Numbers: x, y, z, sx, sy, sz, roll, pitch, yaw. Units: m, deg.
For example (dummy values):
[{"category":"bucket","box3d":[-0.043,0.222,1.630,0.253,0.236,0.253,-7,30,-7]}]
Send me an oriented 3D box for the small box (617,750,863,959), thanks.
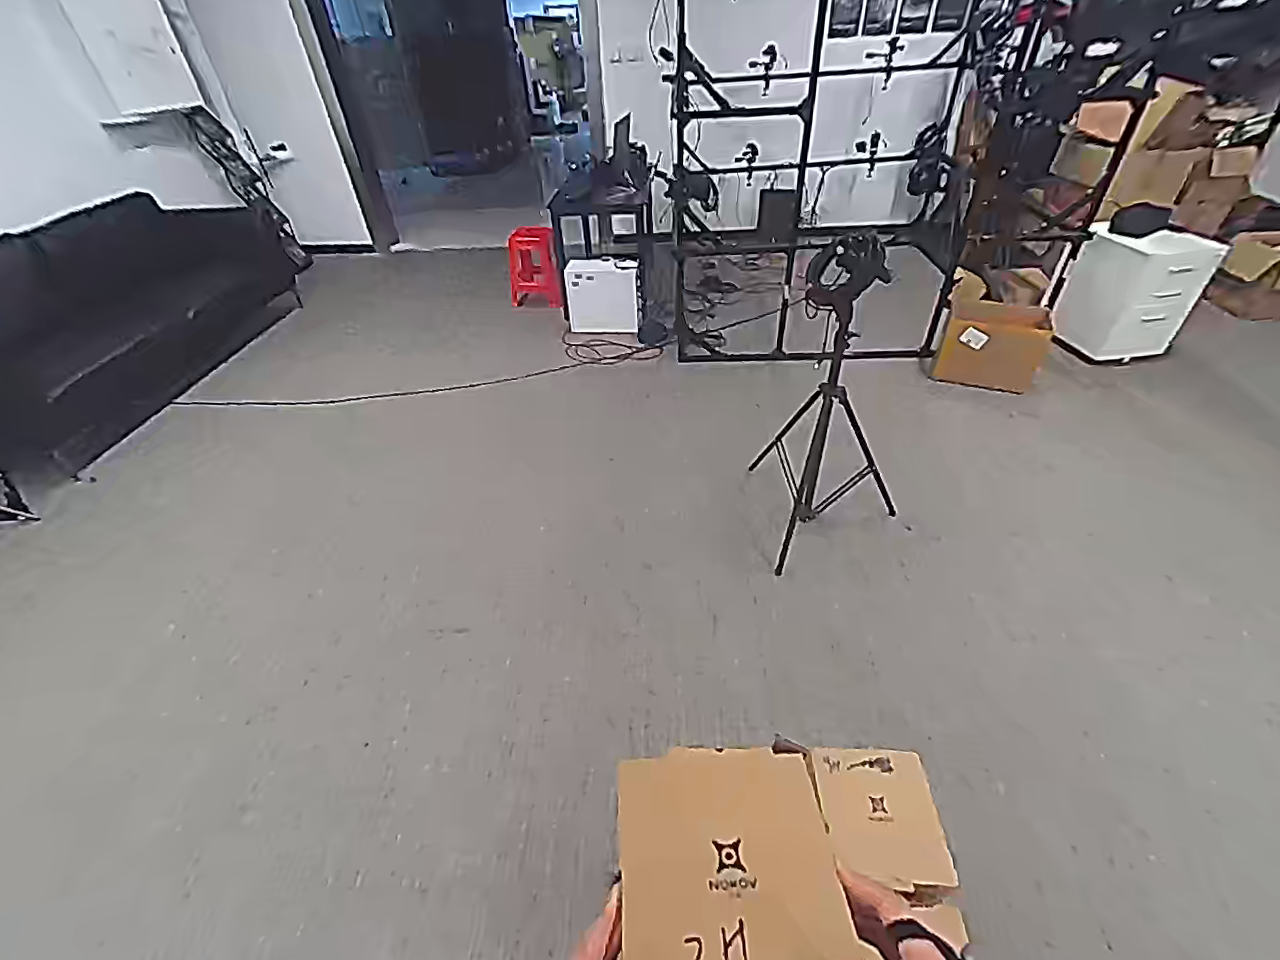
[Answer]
[{"category":"small box","box3d":[0.064,0.356,0.452,0.168,0.176,0.179,-1,35,-3]}]
